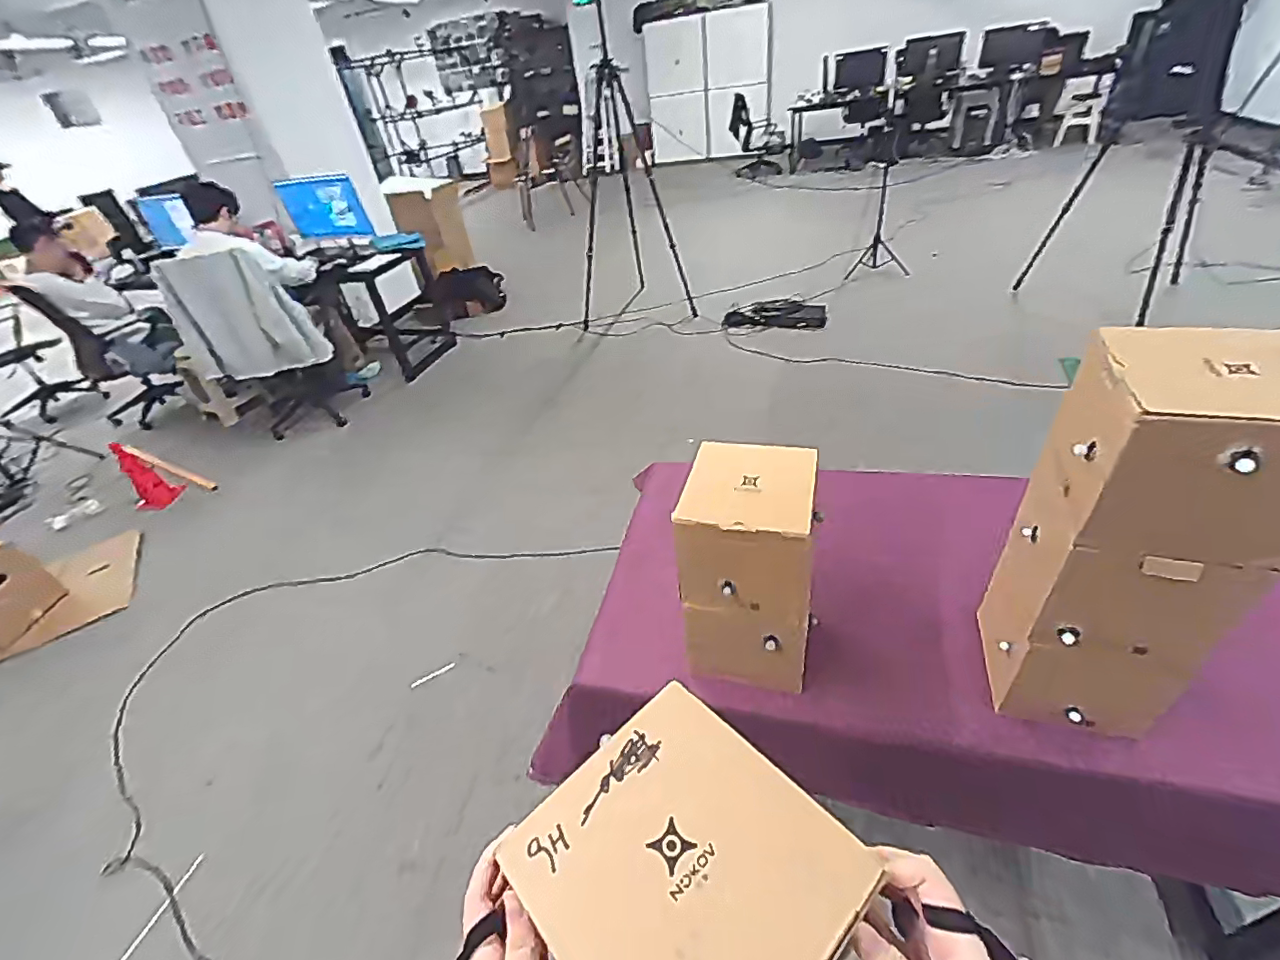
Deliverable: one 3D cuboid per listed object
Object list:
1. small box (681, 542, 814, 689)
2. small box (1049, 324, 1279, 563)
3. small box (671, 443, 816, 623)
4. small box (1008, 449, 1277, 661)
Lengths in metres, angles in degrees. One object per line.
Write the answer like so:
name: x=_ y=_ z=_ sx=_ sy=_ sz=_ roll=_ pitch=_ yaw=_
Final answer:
small box: x=0.174 y=0.203 z=0.848 sx=0.179 sy=0.176 sz=0.168 roll=4 pitch=39 yaw=18
small box: x=0.533 y=-0.039 z=0.531 sx=0.179 sy=0.176 sz=0.168 roll=7 pitch=43 yaw=21
small box: x=0.150 y=0.070 z=0.757 sx=0.168 sy=0.176 sz=0.179 roll=5 pitch=41 yaw=19
small box: x=0.557 y=0.084 z=0.636 sx=0.168 sy=0.176 sz=0.179 roll=6 pitch=40 yaw=21
